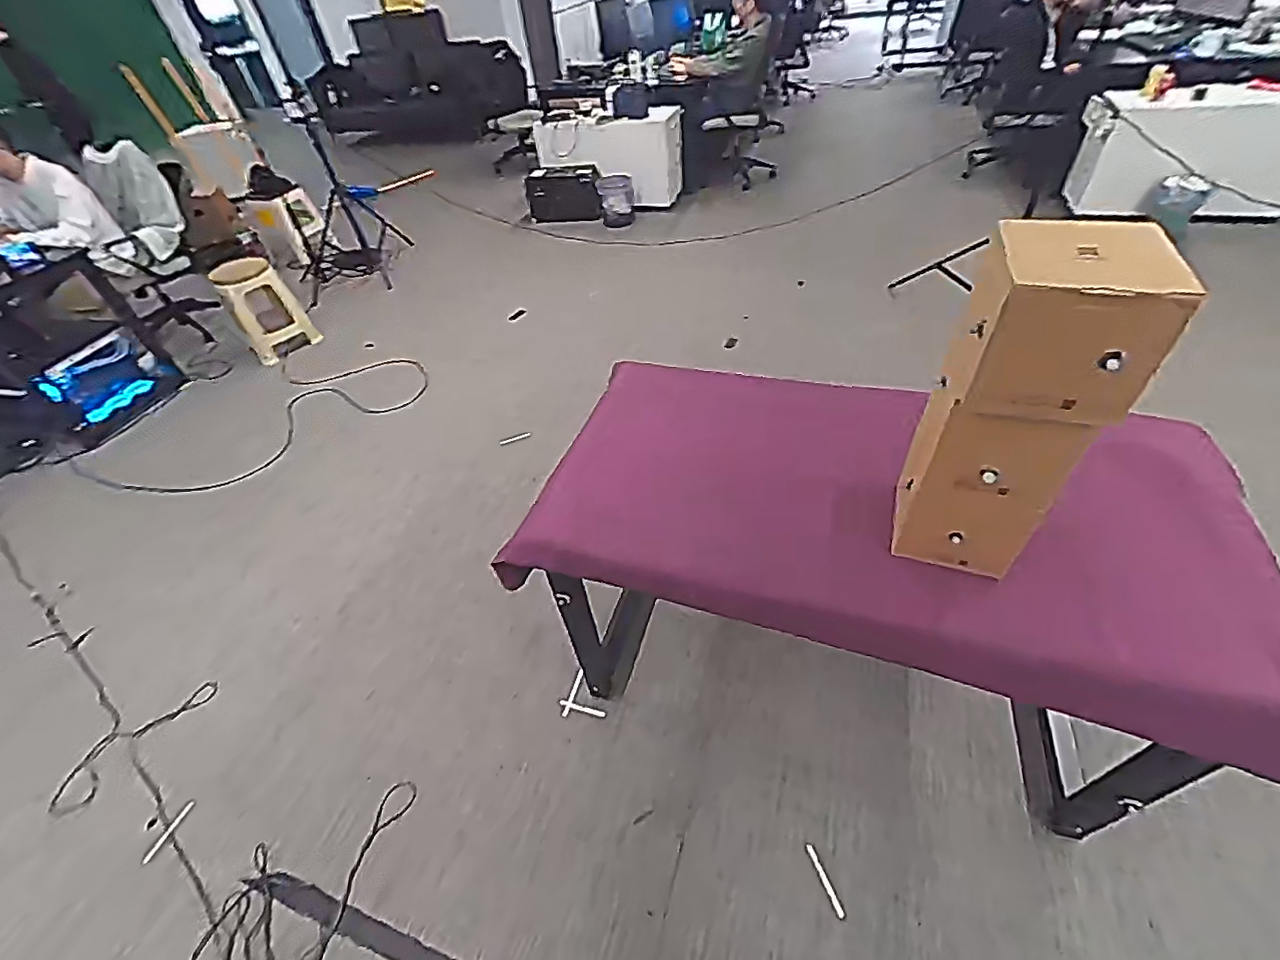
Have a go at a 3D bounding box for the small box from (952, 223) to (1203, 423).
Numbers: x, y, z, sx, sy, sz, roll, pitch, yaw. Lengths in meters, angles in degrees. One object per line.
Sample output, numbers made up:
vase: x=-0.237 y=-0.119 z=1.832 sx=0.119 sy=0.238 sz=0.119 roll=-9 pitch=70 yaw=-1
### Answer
small box: x=0.493 y=-0.188 z=0.646 sx=0.168 sy=0.176 sz=0.179 roll=10 pitch=47 yaw=16

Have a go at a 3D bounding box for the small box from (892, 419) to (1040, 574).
small box: x=0.523 y=0.028 z=0.890 sx=0.168 sy=0.176 sz=0.179 roll=12 pitch=48 yaw=18

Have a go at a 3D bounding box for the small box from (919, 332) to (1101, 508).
small box: x=0.513 y=-0.090 z=0.775 sx=0.168 sy=0.176 sz=0.179 roll=12 pitch=48 yaw=19
